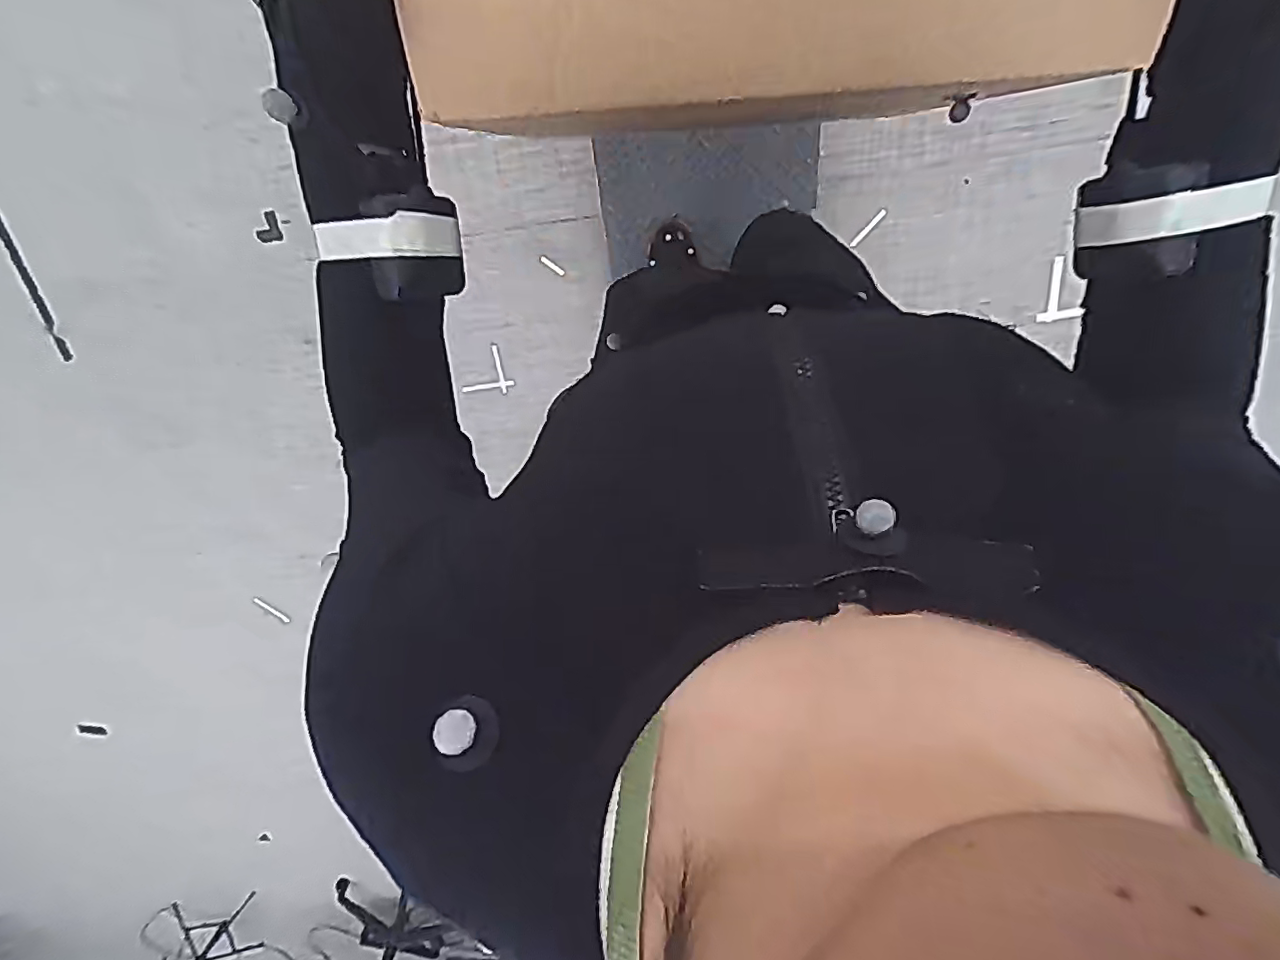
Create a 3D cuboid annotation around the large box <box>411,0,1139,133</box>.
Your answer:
[{"bbox_3d":[0.068,-0.433,0.364,0.408,0.320,0.320,-2,120,3],"label":"large box"}]
